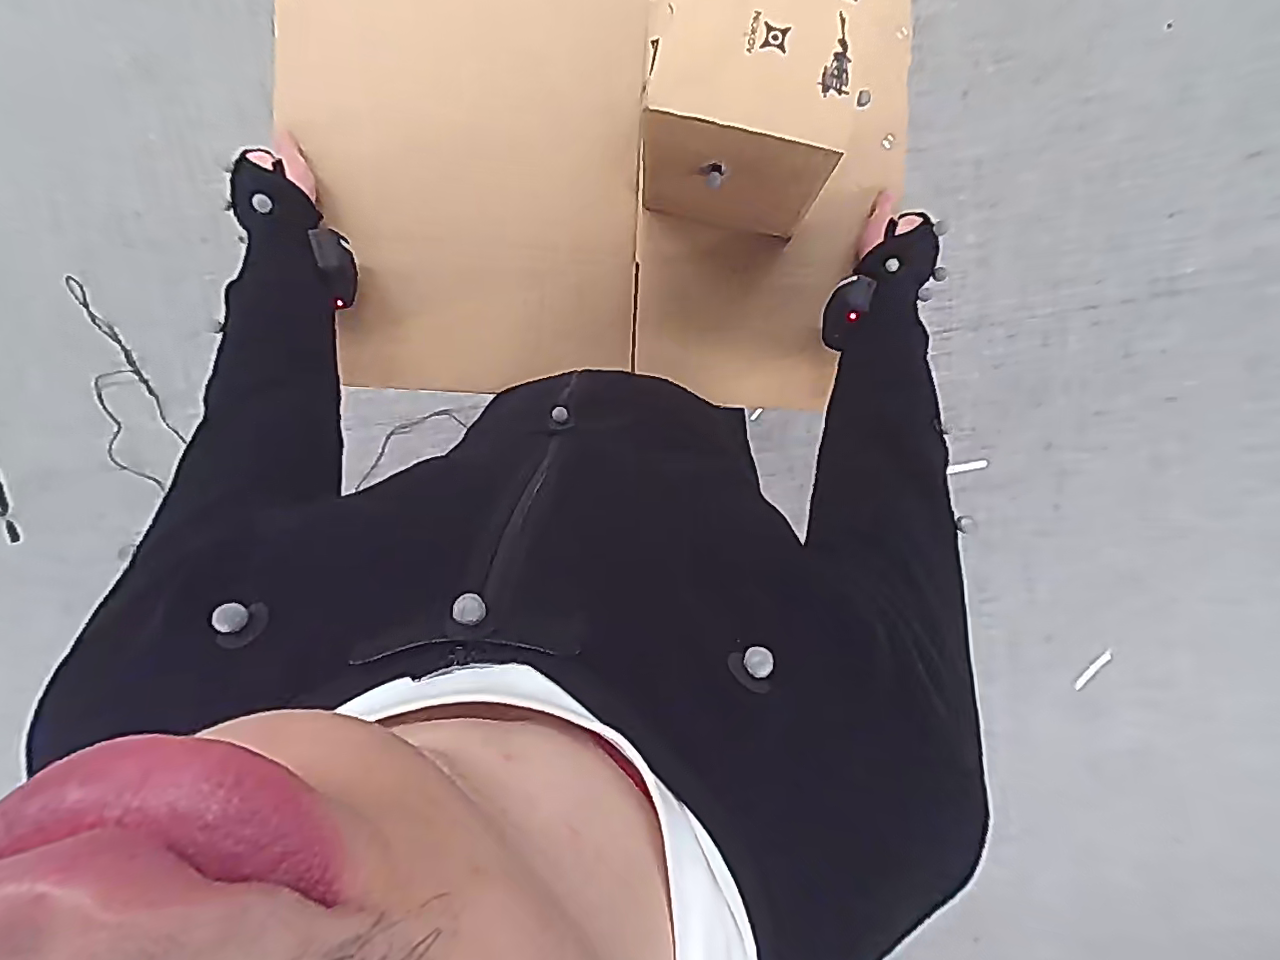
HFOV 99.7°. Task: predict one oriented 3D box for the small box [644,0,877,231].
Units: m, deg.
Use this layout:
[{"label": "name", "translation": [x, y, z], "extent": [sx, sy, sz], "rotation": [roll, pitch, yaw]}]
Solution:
[{"label": "small box", "translation": [0.107, -0.375, 0.538], "extent": [0.179, 0.176, 0.168], "rotation": [13, 91, 1]}]
